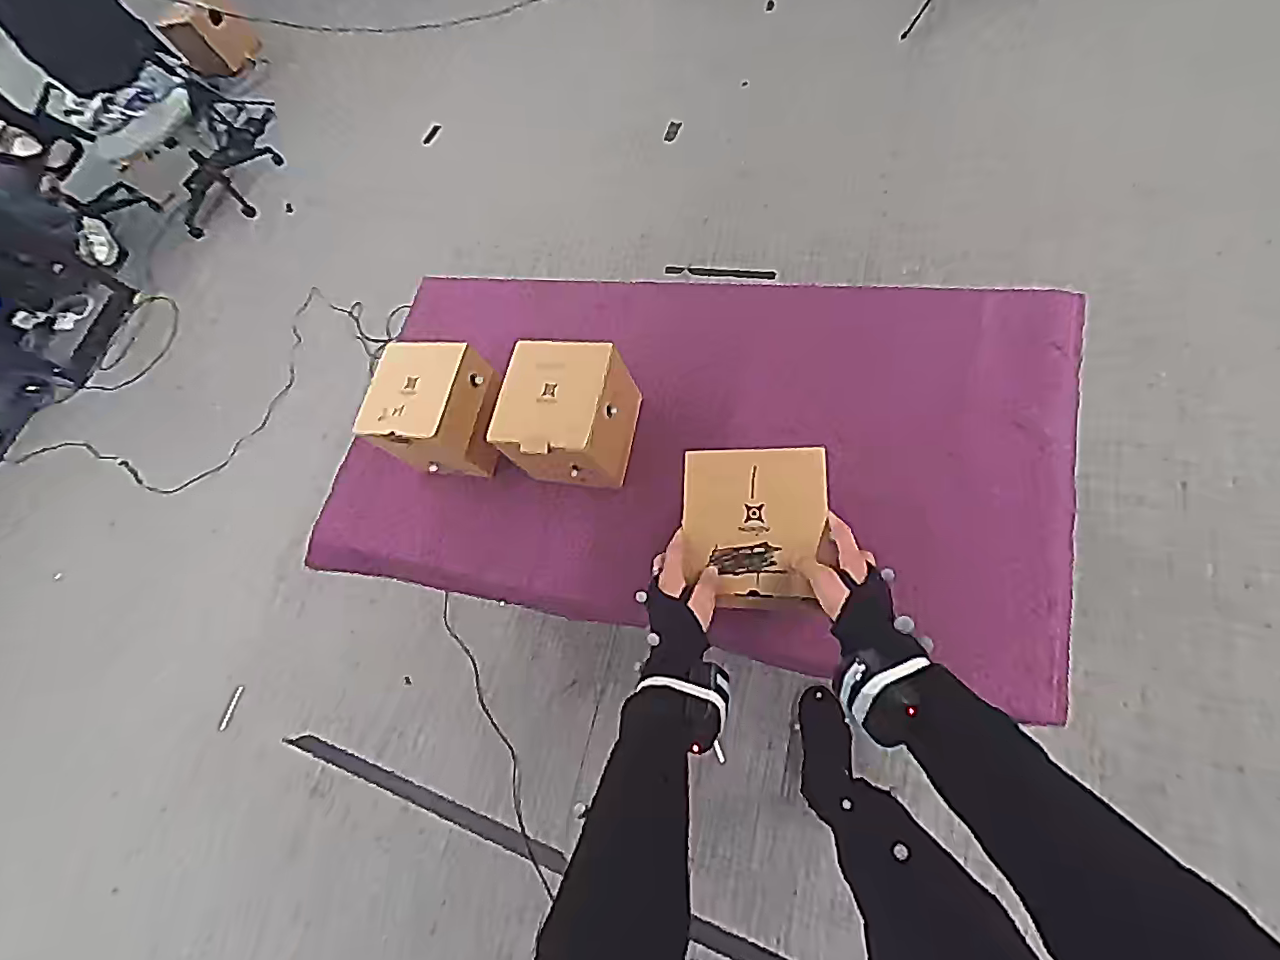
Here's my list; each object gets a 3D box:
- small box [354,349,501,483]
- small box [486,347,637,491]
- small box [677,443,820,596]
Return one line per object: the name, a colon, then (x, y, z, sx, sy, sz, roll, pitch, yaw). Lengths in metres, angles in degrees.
small box: (-0.352, -0.110, 0.949, 0.168, 0.176, 0.179, 5, 71, 20)
small box: (-0.114, -0.092, 0.870, 0.168, 0.176, 0.179, 7, 71, 19)
small box: (0.145, 0.060, 0.706, 0.168, 0.176, 0.179, -1, 77, 14)
